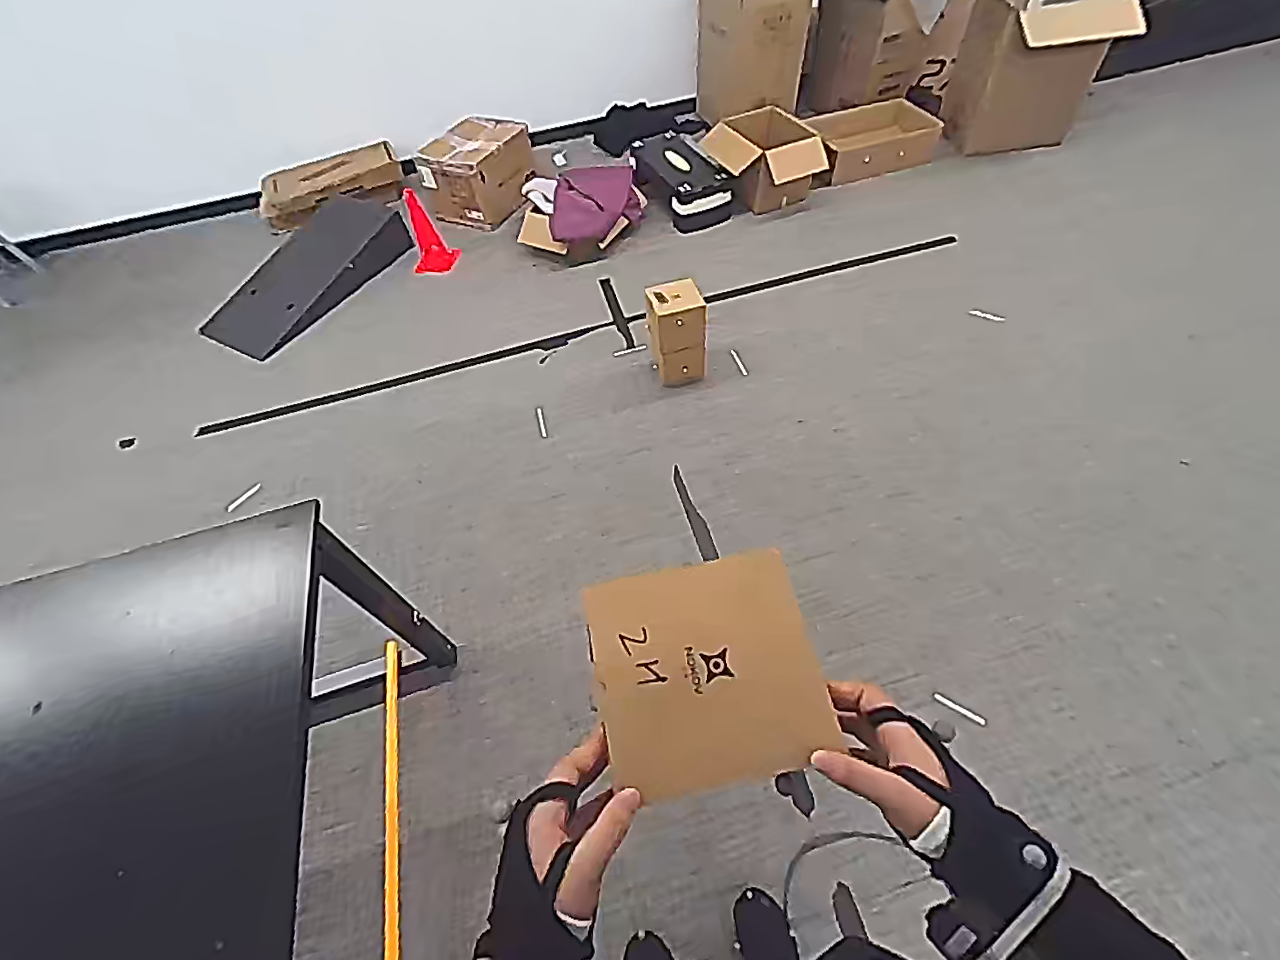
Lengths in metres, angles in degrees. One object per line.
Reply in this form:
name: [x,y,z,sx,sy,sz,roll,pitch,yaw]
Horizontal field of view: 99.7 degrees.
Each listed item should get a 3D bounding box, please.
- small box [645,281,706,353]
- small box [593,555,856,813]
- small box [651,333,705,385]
small box: [0.127,-0.578,1.928,0.179,0.176,0.168,-15,54,-6]
small box: [0.061,0.184,0.492,0.179,0.176,0.168,-11,63,-3]
small box: [0.146,-0.481,2.062,0.168,0.176,0.179,-14,55,-5]
